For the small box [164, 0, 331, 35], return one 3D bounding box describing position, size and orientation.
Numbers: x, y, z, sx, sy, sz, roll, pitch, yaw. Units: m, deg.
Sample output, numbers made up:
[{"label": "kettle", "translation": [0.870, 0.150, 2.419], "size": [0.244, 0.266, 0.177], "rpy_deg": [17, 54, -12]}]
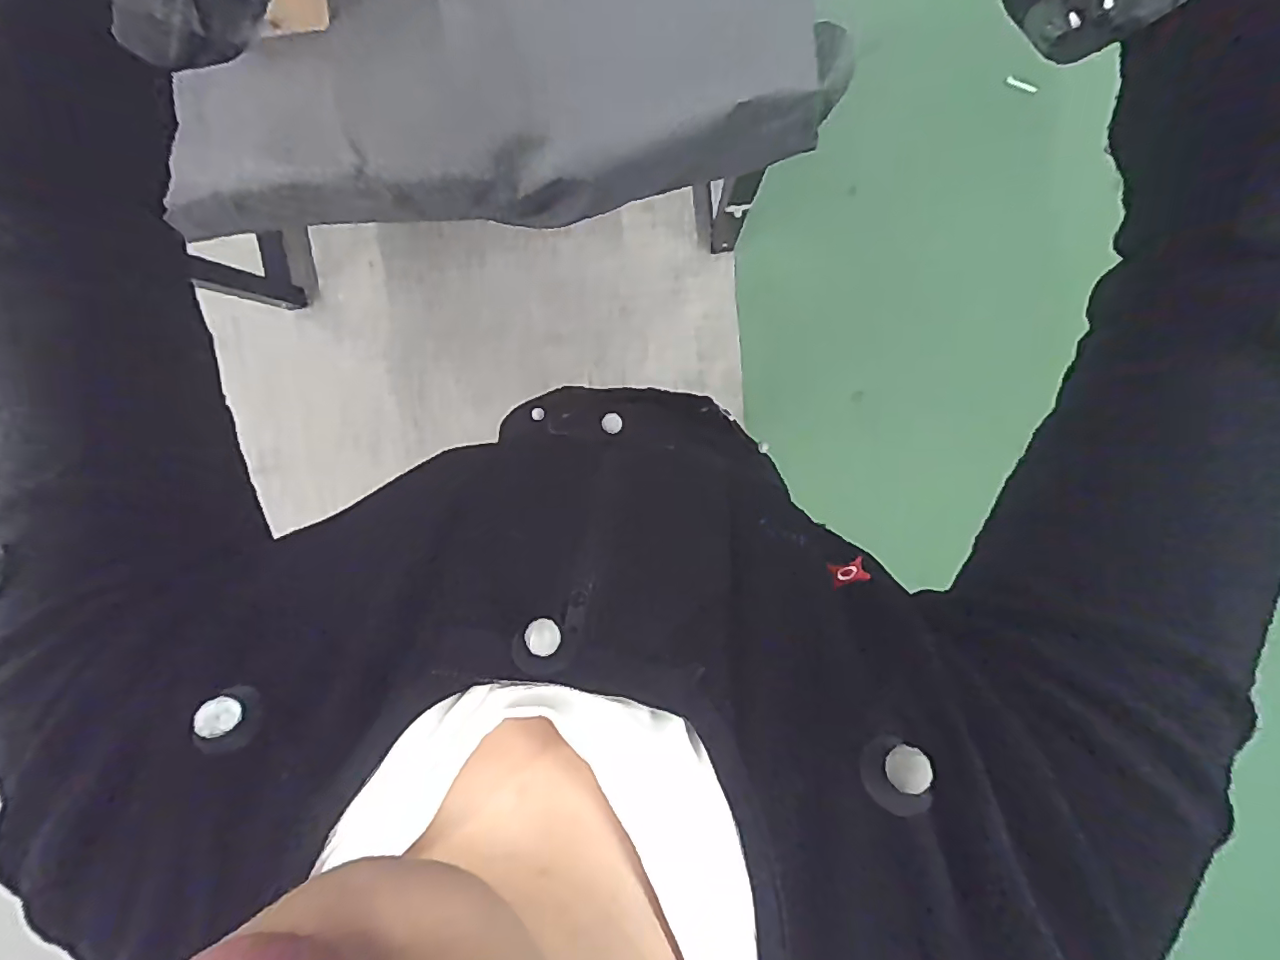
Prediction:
[{"label": "small box", "translation": [-0.466, -0.624, 0.582], "size": [0.168, 0.176, 0.179], "rpy_deg": [-4, 98, 4]}]
